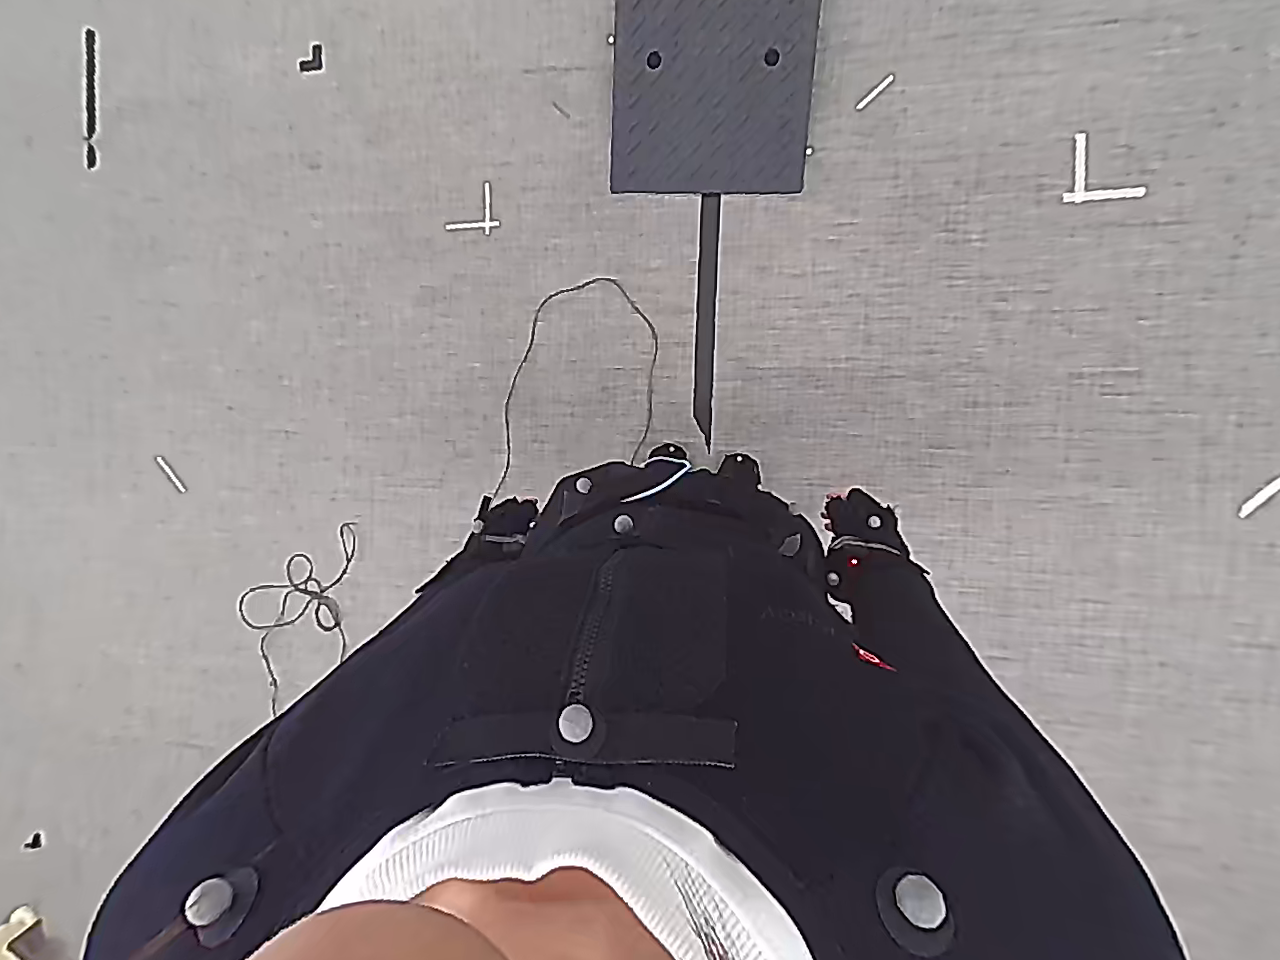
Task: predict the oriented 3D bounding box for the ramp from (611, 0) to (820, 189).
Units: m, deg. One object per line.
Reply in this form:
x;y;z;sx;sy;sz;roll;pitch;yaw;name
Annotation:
0.181;-1.230;1.261;0.509;0.206;0.991;2;94;7;ramp
